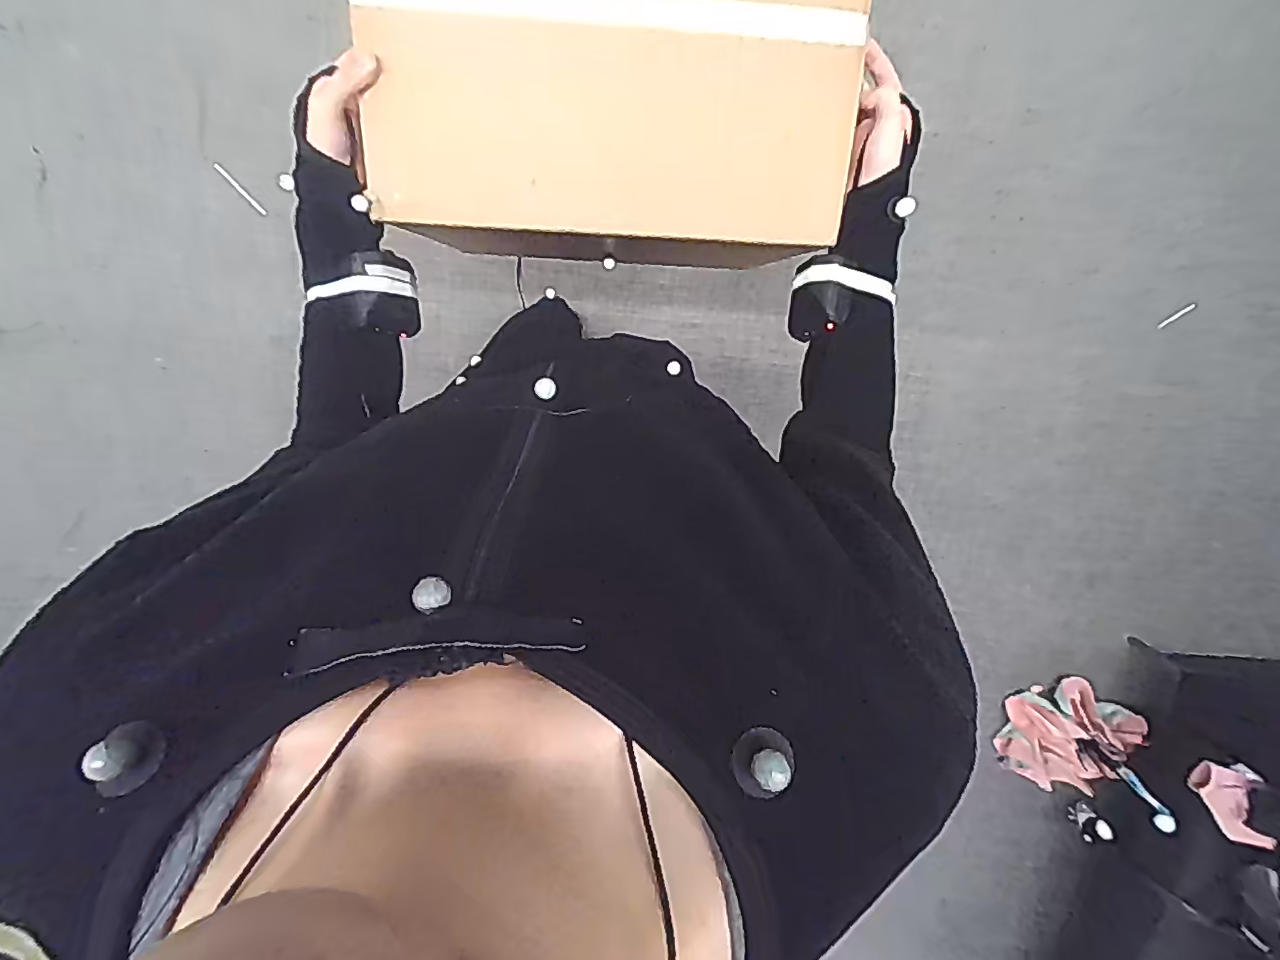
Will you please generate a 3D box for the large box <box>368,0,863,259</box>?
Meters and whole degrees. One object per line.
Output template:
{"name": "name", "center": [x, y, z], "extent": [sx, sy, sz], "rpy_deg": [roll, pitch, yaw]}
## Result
{"name": "large box", "center": [-0.023, -0.414, 0.578], "extent": [0.408, 0.320, 0.320], "rpy_deg": [1, 107, -4]}
